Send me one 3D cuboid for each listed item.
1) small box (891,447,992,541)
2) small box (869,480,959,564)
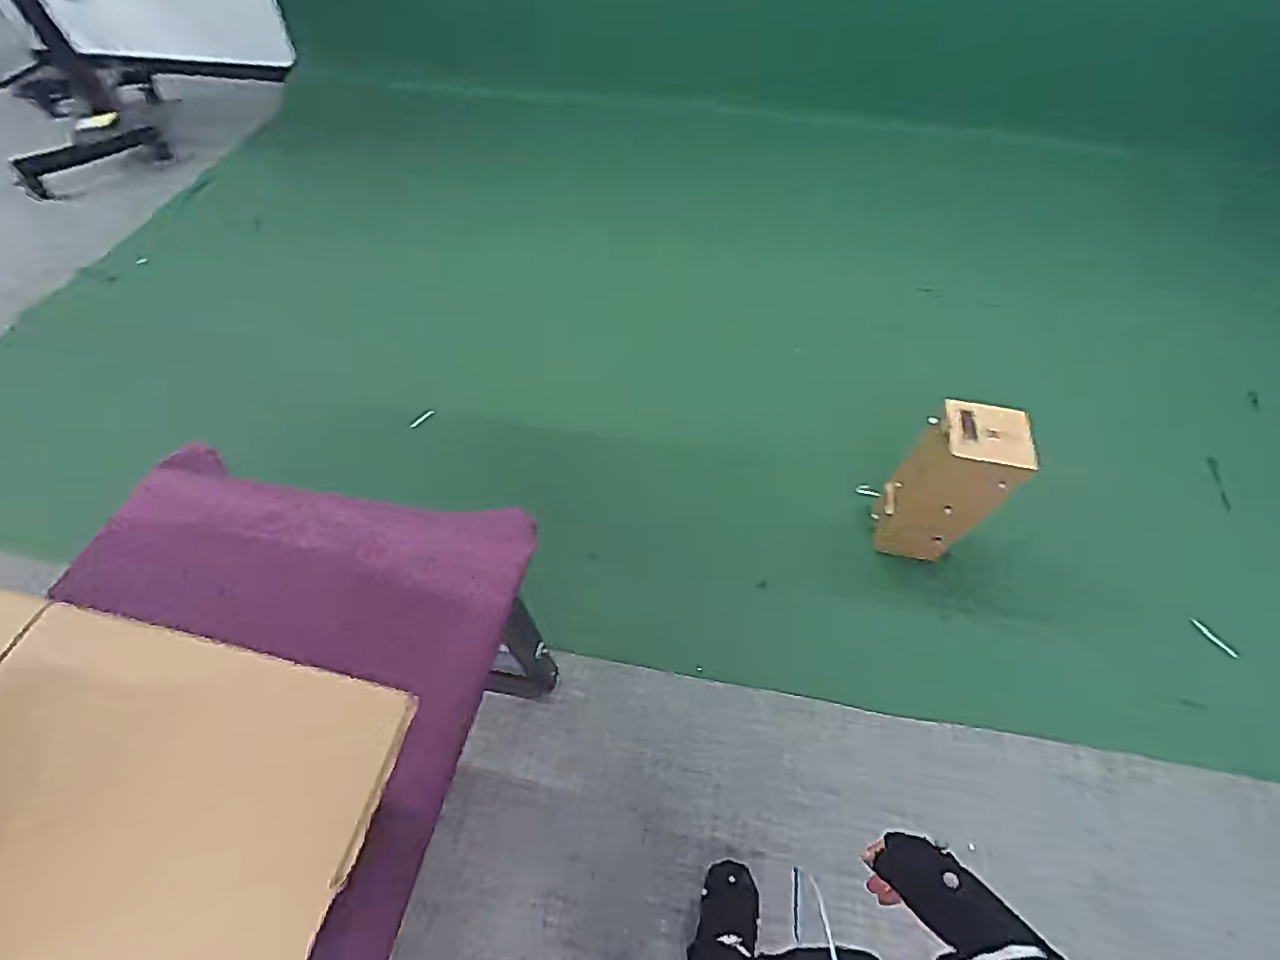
[{"bbox_3d":[0.775,0.042,1.406,0.179,0.176,0.168,10,57,7],"label":"small box"},{"bbox_3d":[0.776,0.126,1.546,0.179,0.176,0.168,10,57,7],"label":"small box"}]
